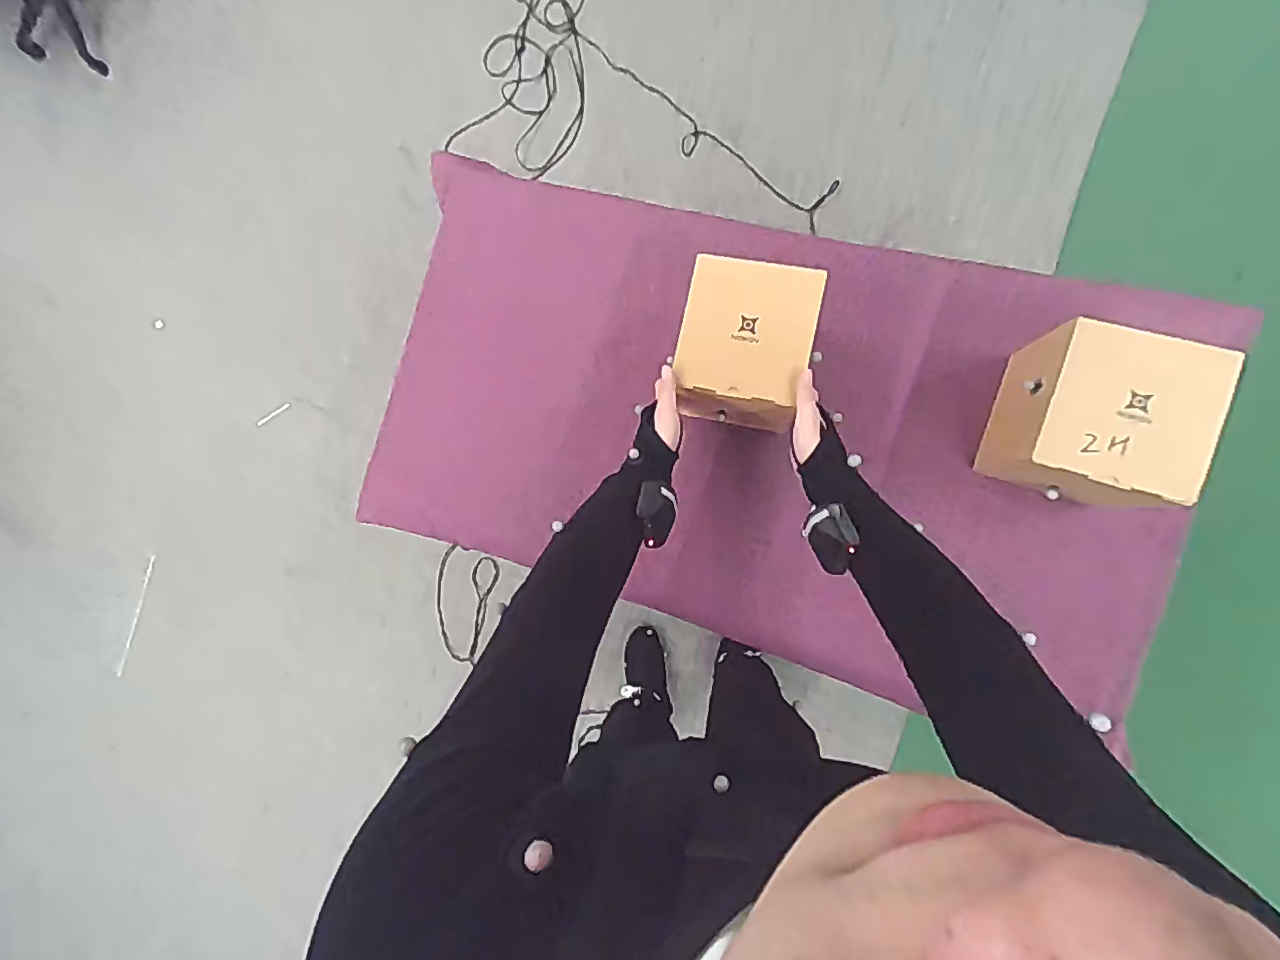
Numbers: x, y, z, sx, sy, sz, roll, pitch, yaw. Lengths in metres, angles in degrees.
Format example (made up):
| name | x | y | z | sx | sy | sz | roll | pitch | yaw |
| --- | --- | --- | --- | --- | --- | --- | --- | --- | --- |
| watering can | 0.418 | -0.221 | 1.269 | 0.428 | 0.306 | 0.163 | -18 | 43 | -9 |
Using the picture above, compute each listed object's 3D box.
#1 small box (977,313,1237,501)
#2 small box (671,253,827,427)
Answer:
| name | x | y | z | sx | sy | sz | roll | pitch | yaw |
| --- | --- | --- | --- | --- | --- | --- | --- | --- | --- |
| small box | 0.560 | -0.080 | 0.679 | 0.168 | 0.176 | 0.179 | 19 | 92 | 12 |
| small box | 0.145 | -0.184 | 0.752 | 0.168 | 0.176 | 0.179 | 12 | 89 | 9 |
